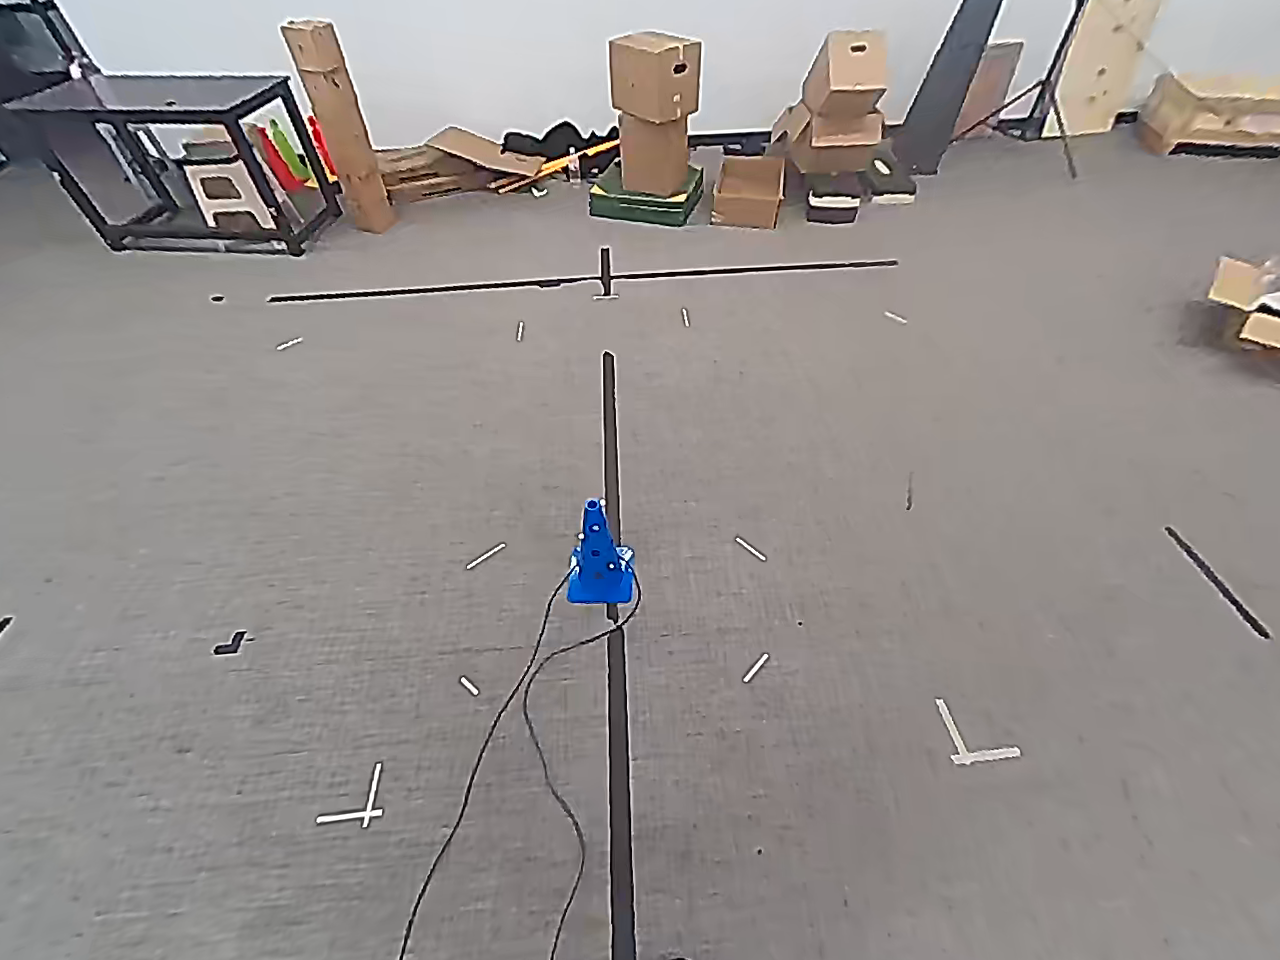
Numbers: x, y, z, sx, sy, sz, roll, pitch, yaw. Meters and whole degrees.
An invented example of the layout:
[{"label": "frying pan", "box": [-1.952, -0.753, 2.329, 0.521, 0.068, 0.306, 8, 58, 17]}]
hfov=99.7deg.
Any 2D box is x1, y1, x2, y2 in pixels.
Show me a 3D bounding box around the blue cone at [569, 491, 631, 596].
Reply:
[{"label": "blue cone", "box": [-0.129, 0.170, 1.558, 0.193, 0.380, 0.192, -1, 50, 1]}]
